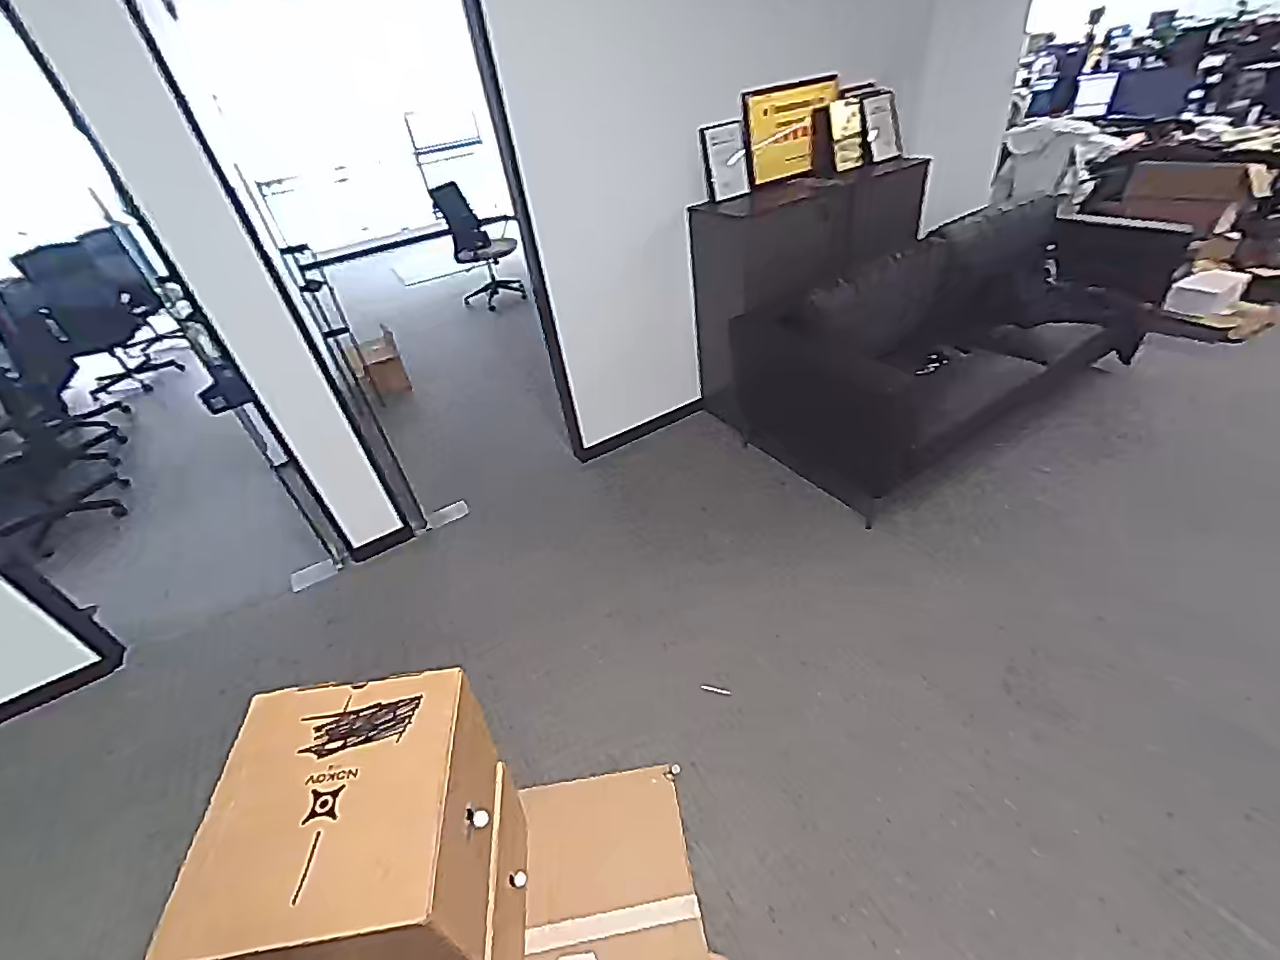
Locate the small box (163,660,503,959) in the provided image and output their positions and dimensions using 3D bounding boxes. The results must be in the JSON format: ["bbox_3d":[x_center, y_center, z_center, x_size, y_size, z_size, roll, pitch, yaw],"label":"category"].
[{"bbox_3d":[-0.211,0.276,0.439,0.168,0.176,0.179,-6,40,-5],"label":"small box"}]

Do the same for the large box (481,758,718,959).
[{"bbox_3d":[-0.122,0.606,0.678,0.408,0.320,0.320,-6,41,-6],"label":"large box"}]
